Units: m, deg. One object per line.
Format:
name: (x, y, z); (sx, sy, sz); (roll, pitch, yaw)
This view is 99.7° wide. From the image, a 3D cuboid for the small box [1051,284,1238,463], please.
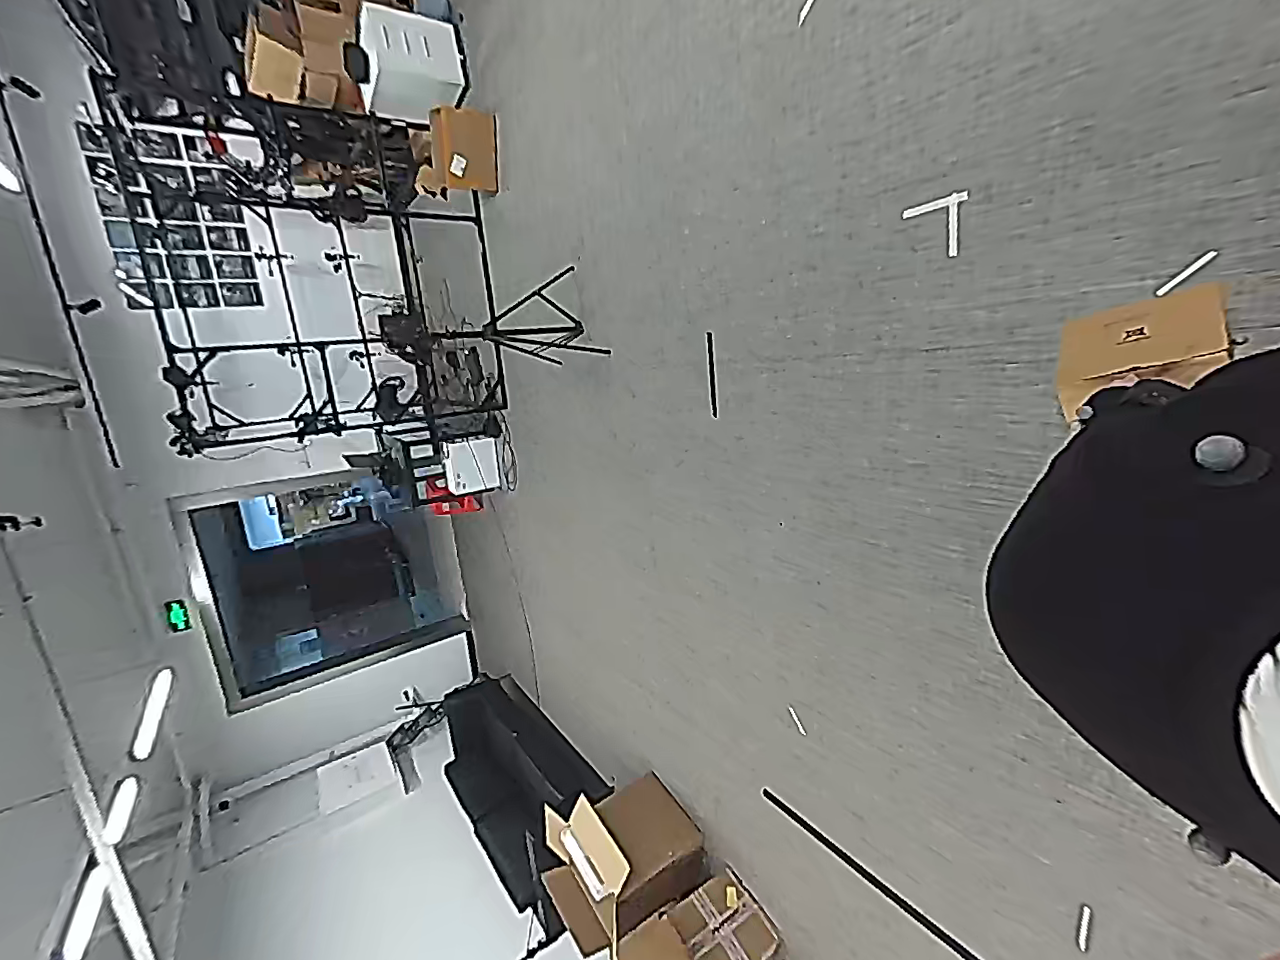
small box: (0.709, -0.136, 0.763); (0.168, 0.179, 0.176); (-9, 124, 48)
